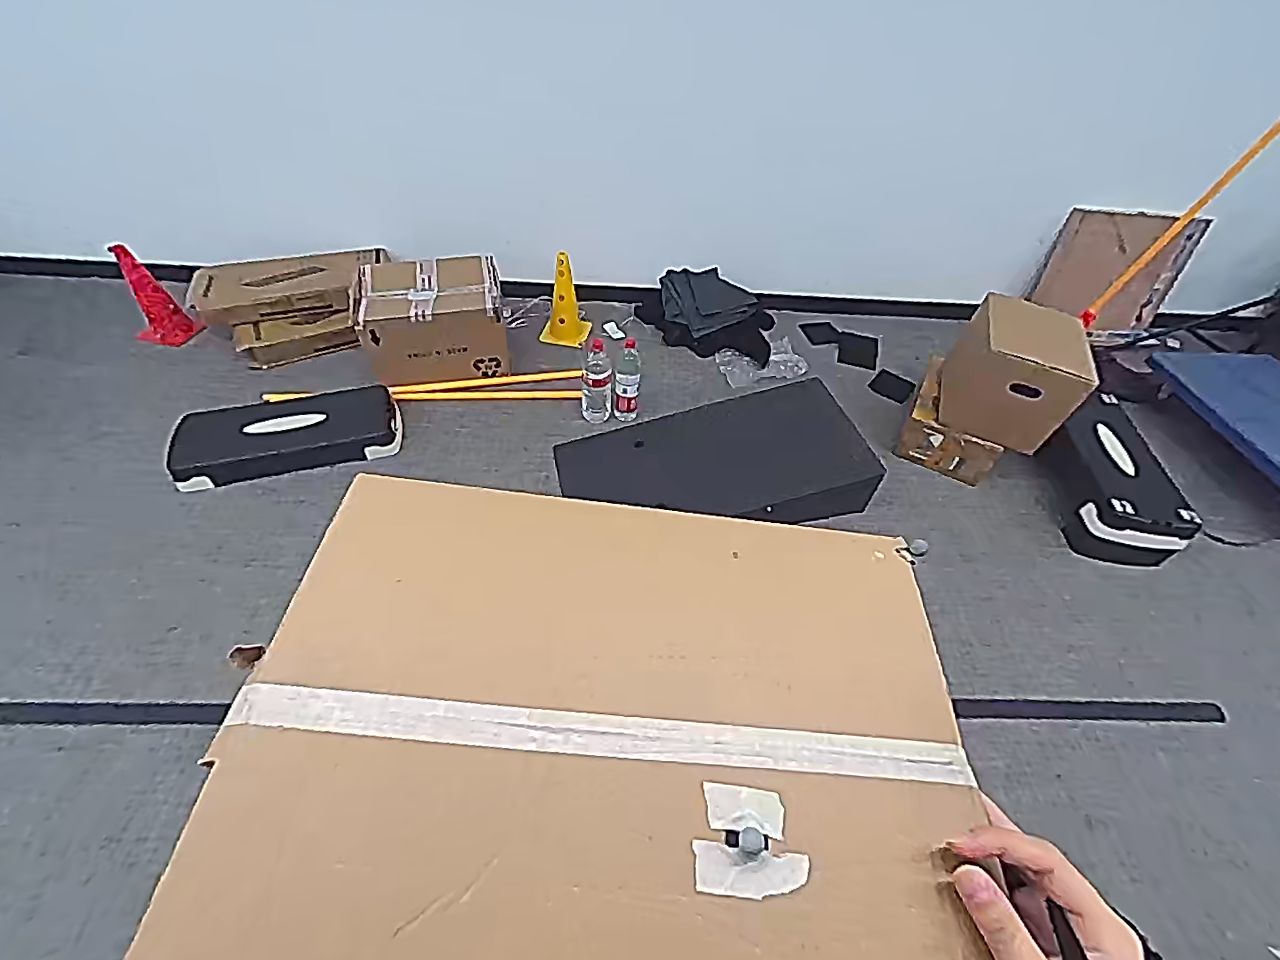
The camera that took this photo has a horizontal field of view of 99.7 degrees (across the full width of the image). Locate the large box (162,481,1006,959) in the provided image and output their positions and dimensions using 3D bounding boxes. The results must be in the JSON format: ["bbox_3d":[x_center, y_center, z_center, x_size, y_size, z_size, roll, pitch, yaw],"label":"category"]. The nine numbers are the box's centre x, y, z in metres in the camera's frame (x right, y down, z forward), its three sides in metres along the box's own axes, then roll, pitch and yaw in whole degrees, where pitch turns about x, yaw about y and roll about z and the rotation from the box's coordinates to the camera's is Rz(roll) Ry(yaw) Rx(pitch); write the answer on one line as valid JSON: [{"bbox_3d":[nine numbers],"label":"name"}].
[{"bbox_3d":[-0.027,0.233,0.433,0.408,0.320,0.320,8,53,-4],"label":"large box"}]
